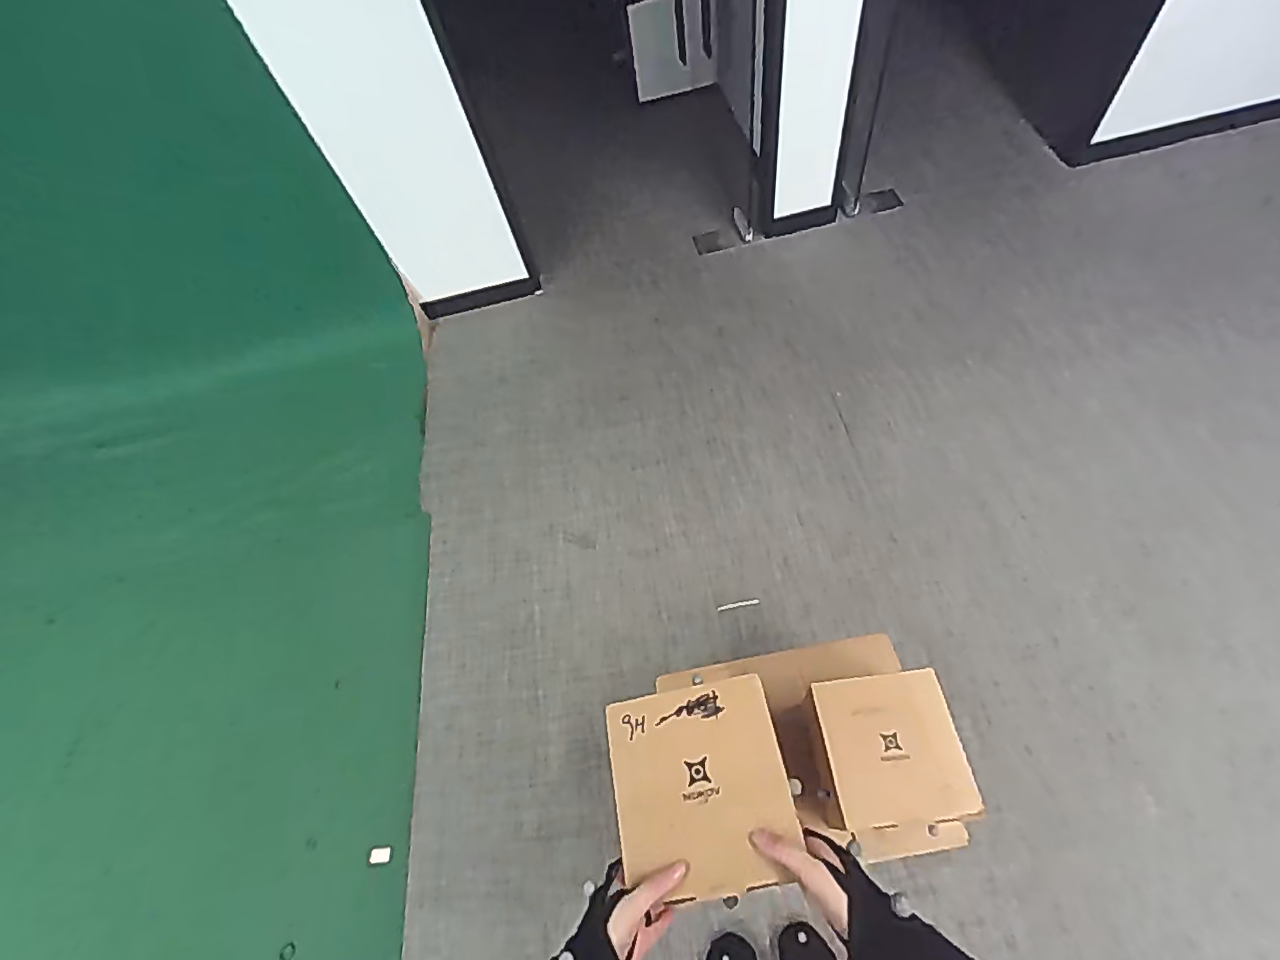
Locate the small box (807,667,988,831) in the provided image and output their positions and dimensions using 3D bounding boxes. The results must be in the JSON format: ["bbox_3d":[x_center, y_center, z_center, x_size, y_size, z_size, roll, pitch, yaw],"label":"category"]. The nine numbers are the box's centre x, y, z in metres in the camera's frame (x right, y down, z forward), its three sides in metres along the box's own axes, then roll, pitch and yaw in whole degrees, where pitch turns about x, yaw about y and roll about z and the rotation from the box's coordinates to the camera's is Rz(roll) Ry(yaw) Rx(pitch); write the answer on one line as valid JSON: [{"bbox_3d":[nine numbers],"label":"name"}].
[{"bbox_3d":[0.338,0.375,0.752,0.168,0.176,0.179,-10,57,6],"label":"small box"}]

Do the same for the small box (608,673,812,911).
[{"bbox_3d":[0.075,0.327,0.578,0.168,0.176,0.179,-15,56,5],"label":"small box"}]
